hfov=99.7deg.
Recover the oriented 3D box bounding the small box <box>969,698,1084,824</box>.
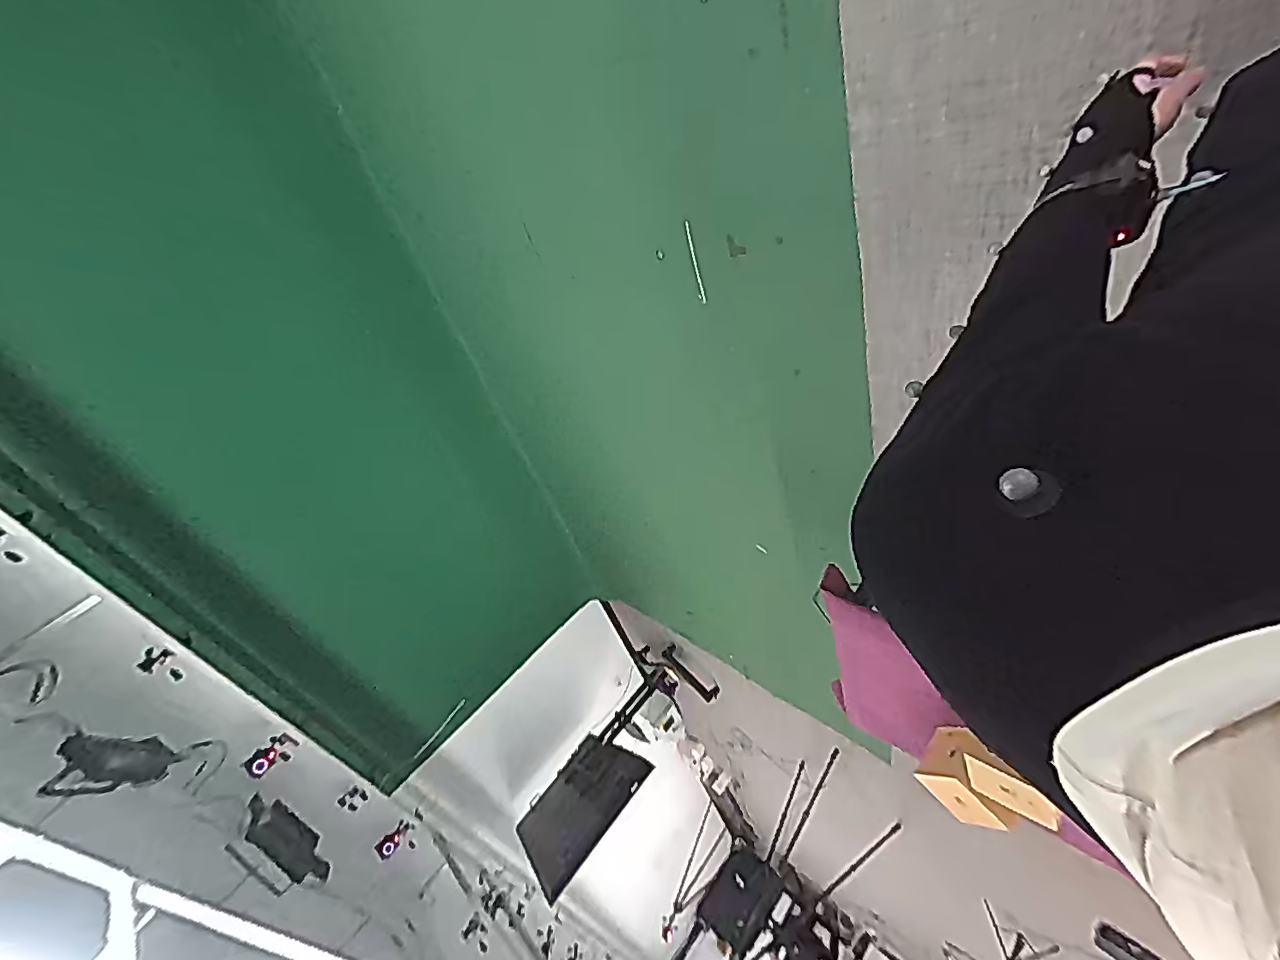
[{"bbox_3d":[0.903,0.642,1.263,0.179,0.176,0.168,13,139,49],"label":"small box"}]

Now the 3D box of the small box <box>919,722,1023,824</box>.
[{"bbox_3d":[0.906,0.776,1.454,0.179,0.176,0.168,43,153,7],"label":"small box"}]
